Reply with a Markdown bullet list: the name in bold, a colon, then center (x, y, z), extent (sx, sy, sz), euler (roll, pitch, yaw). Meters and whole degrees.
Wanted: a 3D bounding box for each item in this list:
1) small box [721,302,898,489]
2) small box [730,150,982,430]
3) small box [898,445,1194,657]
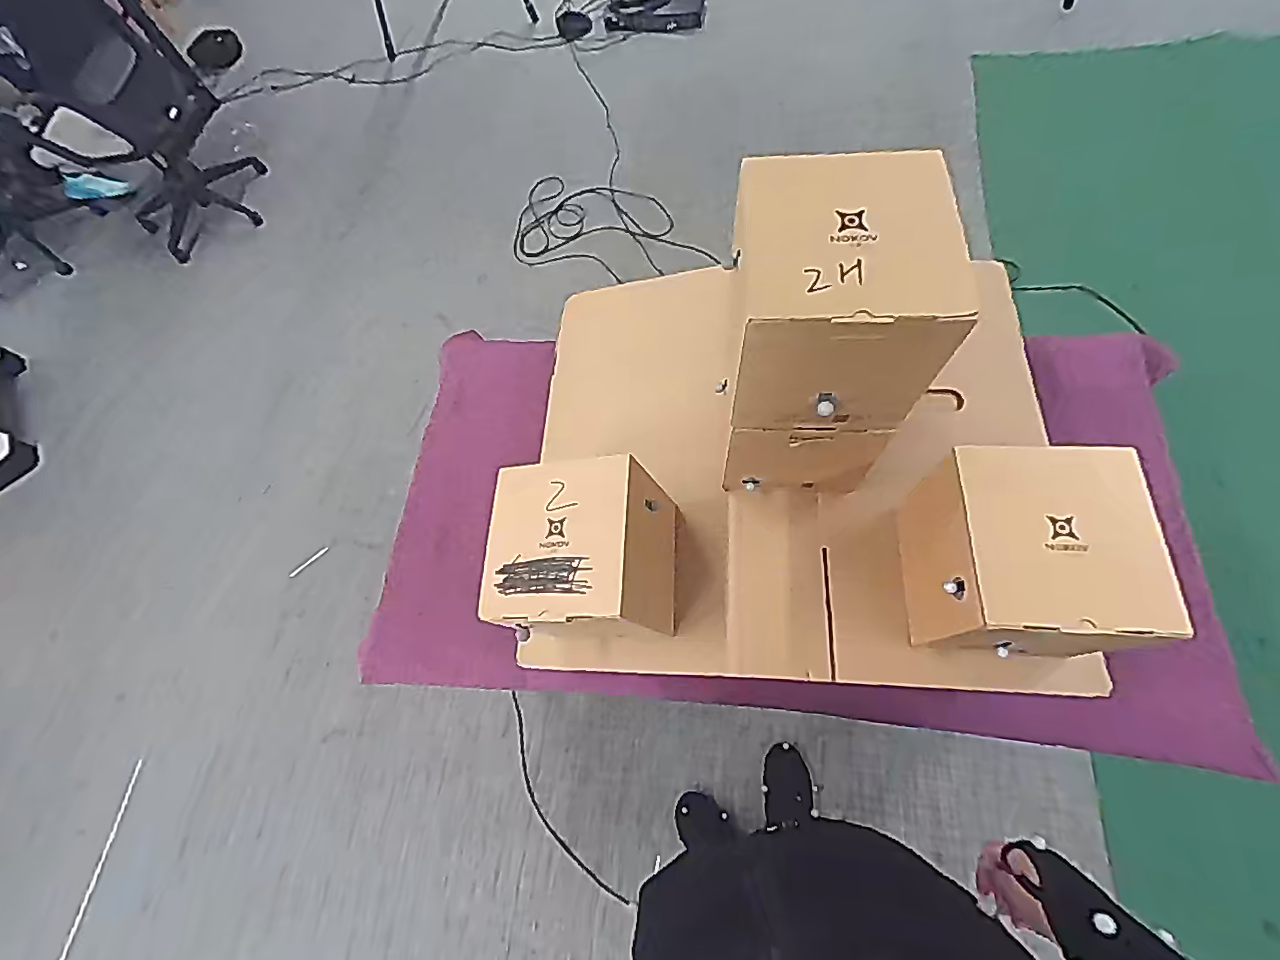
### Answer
- **small box**: center (0.185, -0.097, 0.642), extent (0.168, 0.176, 0.179), euler (1, 67, 5)
- **small box**: center (0.171, -0.163, 0.492), extent (0.168, 0.176, 0.179), euler (1, 68, 6)
- **small box**: center (0.383, 0.080, 0.554), extent (0.168, 0.176, 0.179), euler (1, 68, 6)
